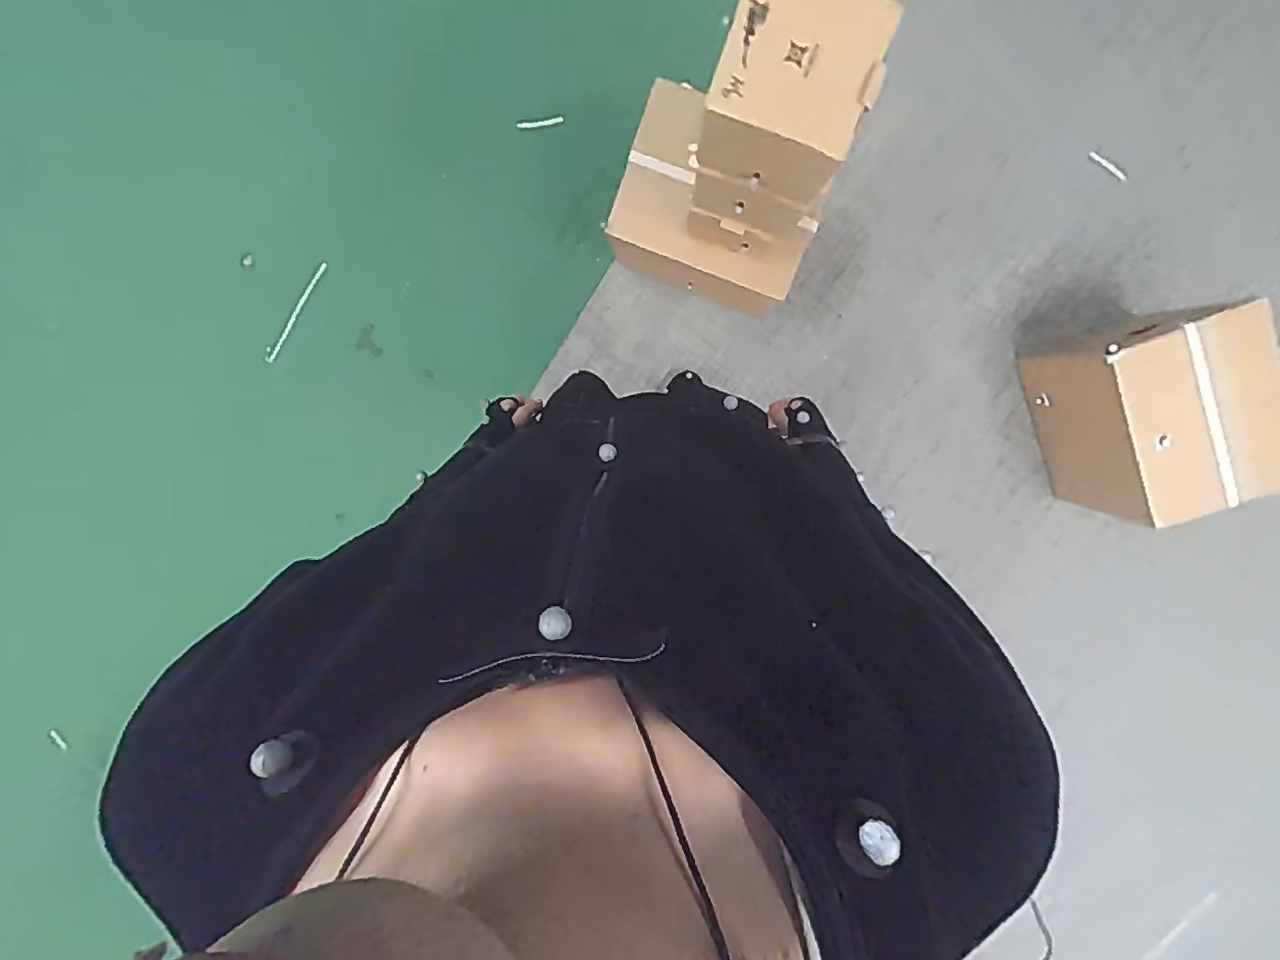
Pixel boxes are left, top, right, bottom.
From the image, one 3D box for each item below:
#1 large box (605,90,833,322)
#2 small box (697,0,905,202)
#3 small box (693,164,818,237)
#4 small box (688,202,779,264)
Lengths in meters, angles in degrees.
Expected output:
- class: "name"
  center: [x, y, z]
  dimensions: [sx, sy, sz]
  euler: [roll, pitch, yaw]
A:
- class: "large box"
  center: [0.174, -0.590, 1.240]
  dimensions: [0.408, 0.320, 0.320]
  euler: [21, 98, 1]
- class: "small box"
  center: [0.183, -0.477, 0.678]
  dimensions: [0.179, 0.176, 0.168]
  euler: [21, 100, -2]
- class: "small box"
  center: [0.193, -0.500, 0.840]
  dimensions: [0.179, 0.176, 0.168]
  euler: [20, 100, 0]
- class: "small box"
  center: [0.196, -0.525, 1.002]
  dimensions: [0.168, 0.176, 0.179]
  euler: [21, 100, -1]
